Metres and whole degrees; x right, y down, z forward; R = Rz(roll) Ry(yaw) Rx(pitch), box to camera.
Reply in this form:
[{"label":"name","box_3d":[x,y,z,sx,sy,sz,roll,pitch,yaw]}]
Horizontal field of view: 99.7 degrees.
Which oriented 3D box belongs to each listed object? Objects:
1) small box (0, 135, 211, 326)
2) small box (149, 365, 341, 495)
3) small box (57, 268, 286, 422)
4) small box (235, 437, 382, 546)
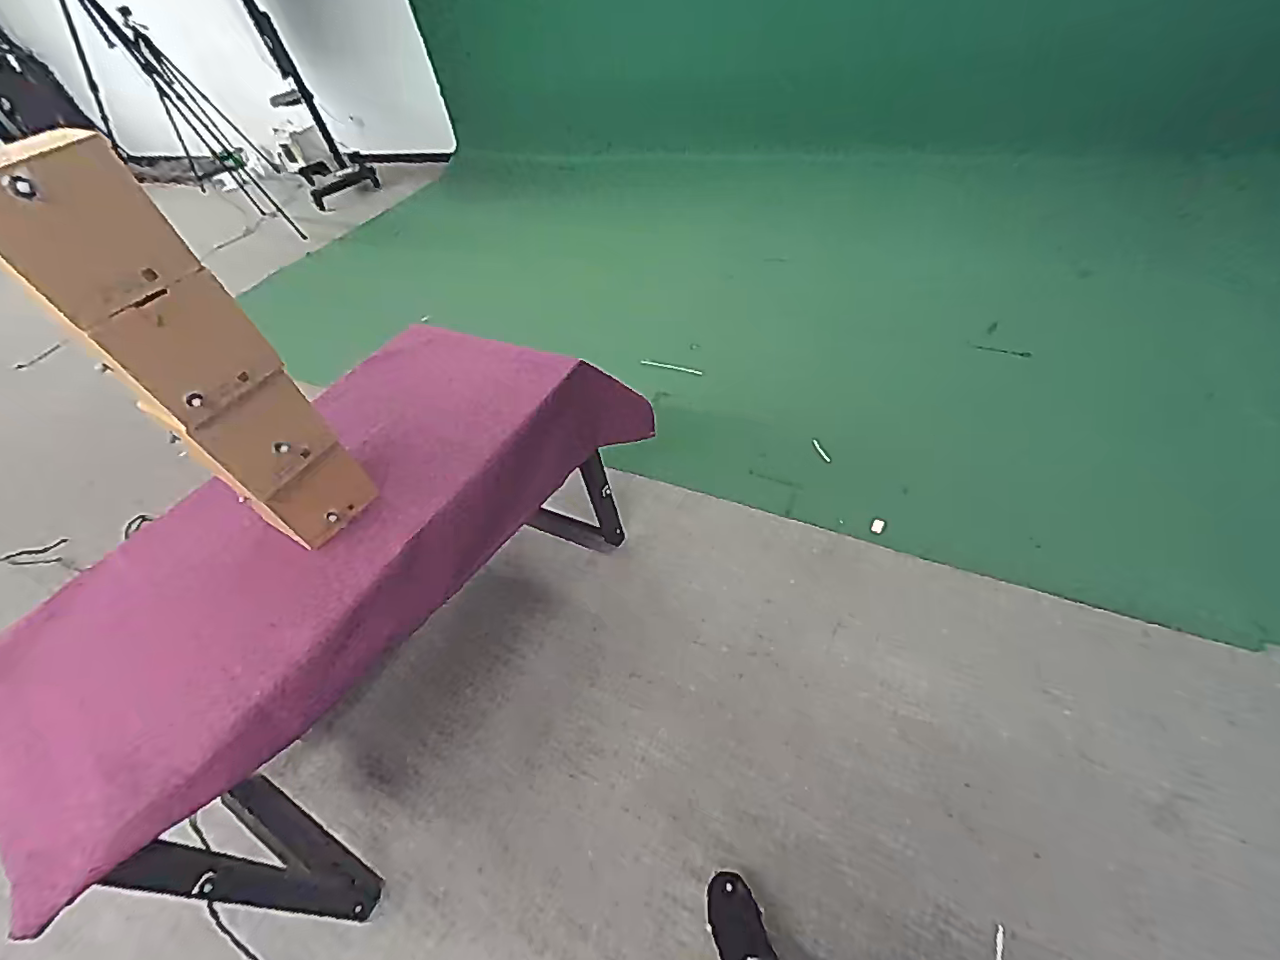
[{"label":"small box","box_3d":[-0.717,-0.320,0.695,0.179,0.176,0.168,21,56,29]},{"label":"small box","box_3d":[-0.669,-0.099,0.933,0.179,0.176,0.168,20,56,27]},{"label":"small box","box_3d":[-0.686,-0.209,0.812,0.179,0.176,0.168,20,55,28]},{"label":"small box","box_3d":[-0.654,0.002,1.061,0.179,0.176,0.168,21,56,28]}]
